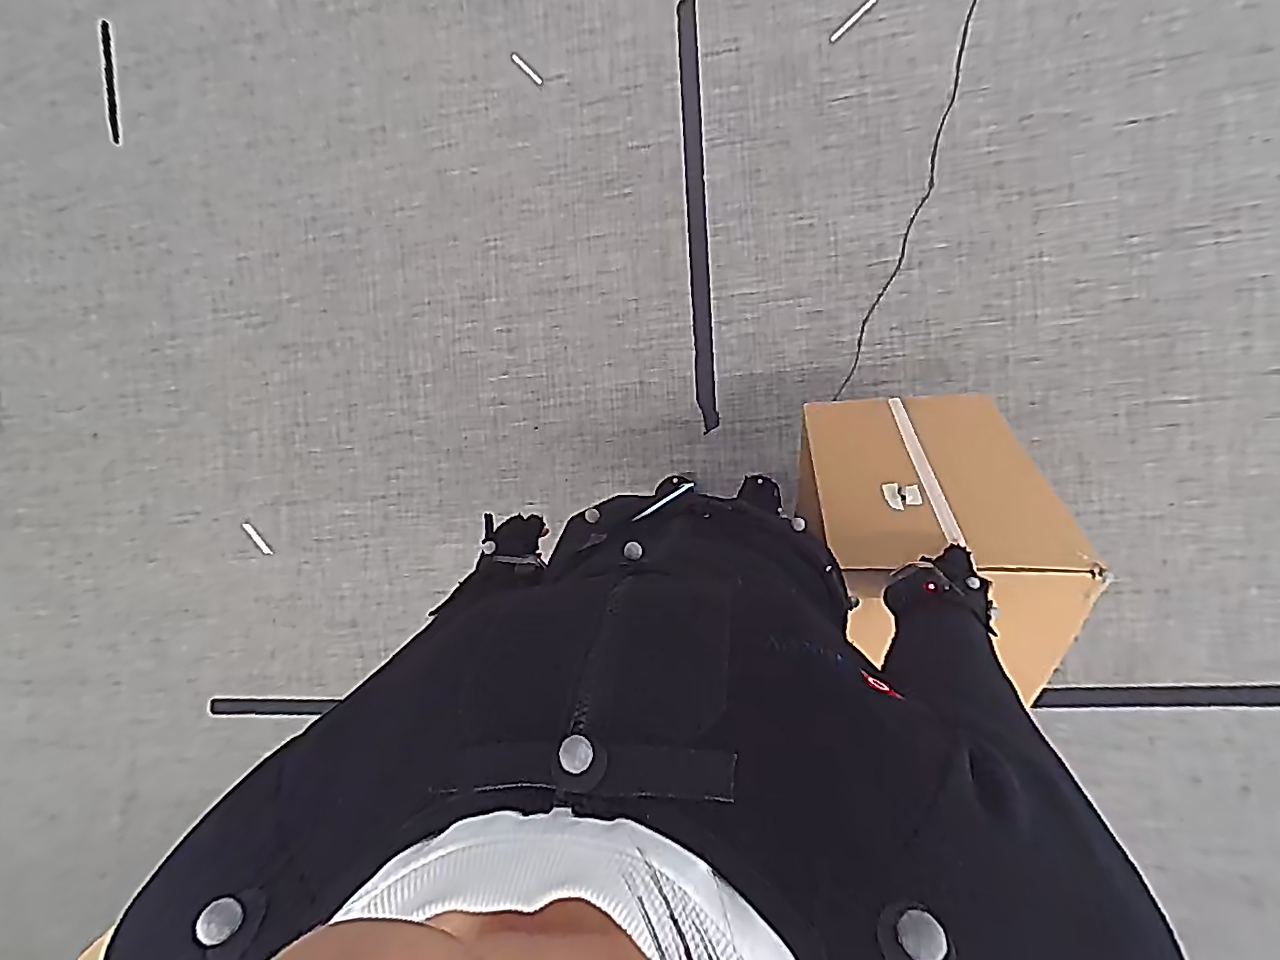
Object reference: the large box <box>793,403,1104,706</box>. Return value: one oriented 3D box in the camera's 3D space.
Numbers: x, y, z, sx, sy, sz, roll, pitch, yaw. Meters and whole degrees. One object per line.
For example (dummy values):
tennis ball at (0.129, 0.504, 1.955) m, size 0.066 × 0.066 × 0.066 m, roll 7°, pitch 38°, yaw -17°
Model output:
large box at (0.443, 0.109, 0.909) m, size 0.320 × 0.408 × 0.320 m, roll -2°, pitch 130°, yaw 11°
